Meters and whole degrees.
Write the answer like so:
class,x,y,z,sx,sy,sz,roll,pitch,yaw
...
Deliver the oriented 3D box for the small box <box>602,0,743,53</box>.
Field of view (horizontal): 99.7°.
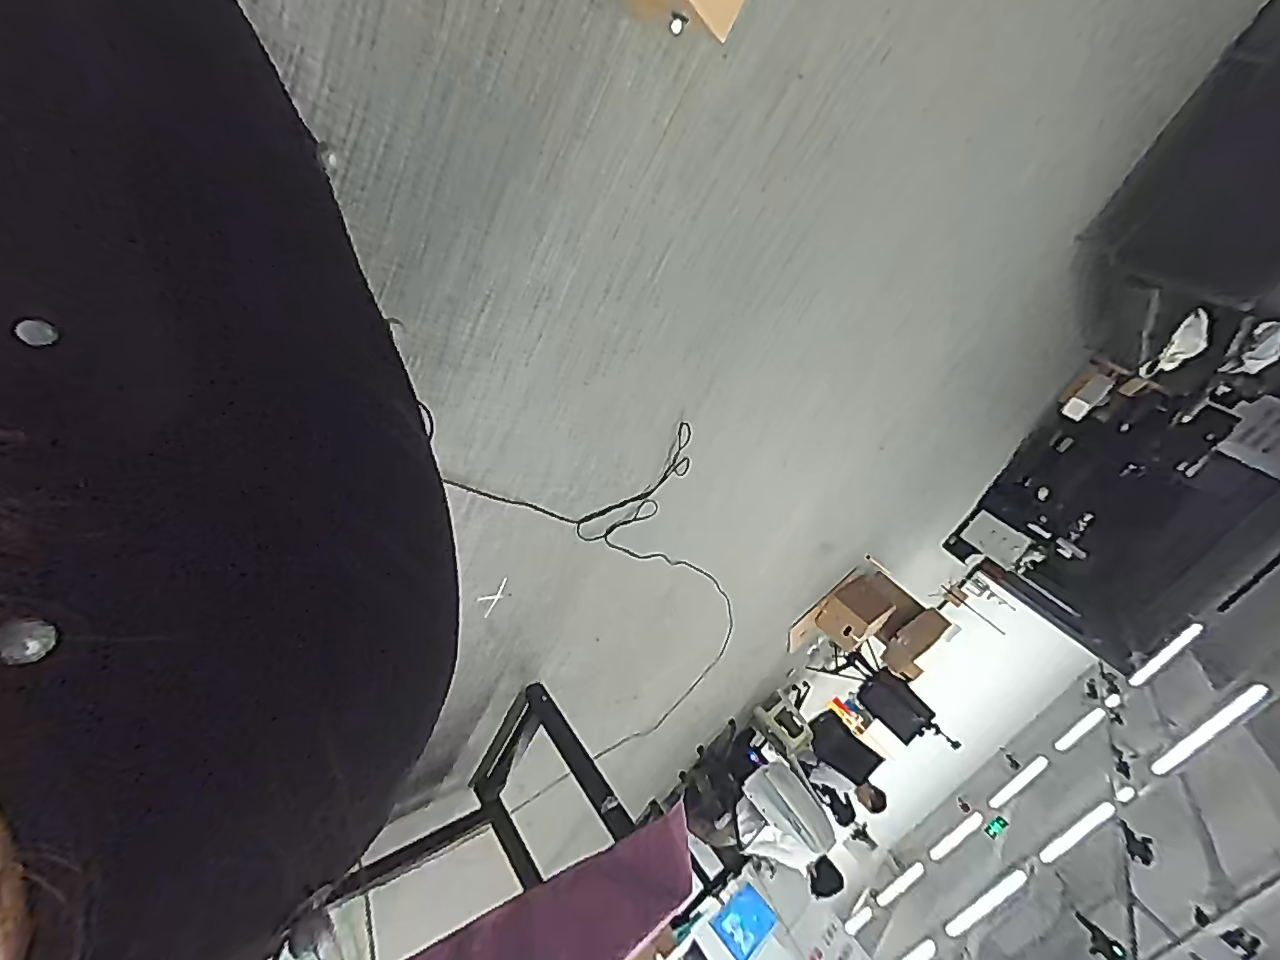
class,x,y,z,sx,sy,sz,roll,pitch,yaw
small box,0.030,-0.643,0.618,0.179,0.176,0.168,2,123,-50
